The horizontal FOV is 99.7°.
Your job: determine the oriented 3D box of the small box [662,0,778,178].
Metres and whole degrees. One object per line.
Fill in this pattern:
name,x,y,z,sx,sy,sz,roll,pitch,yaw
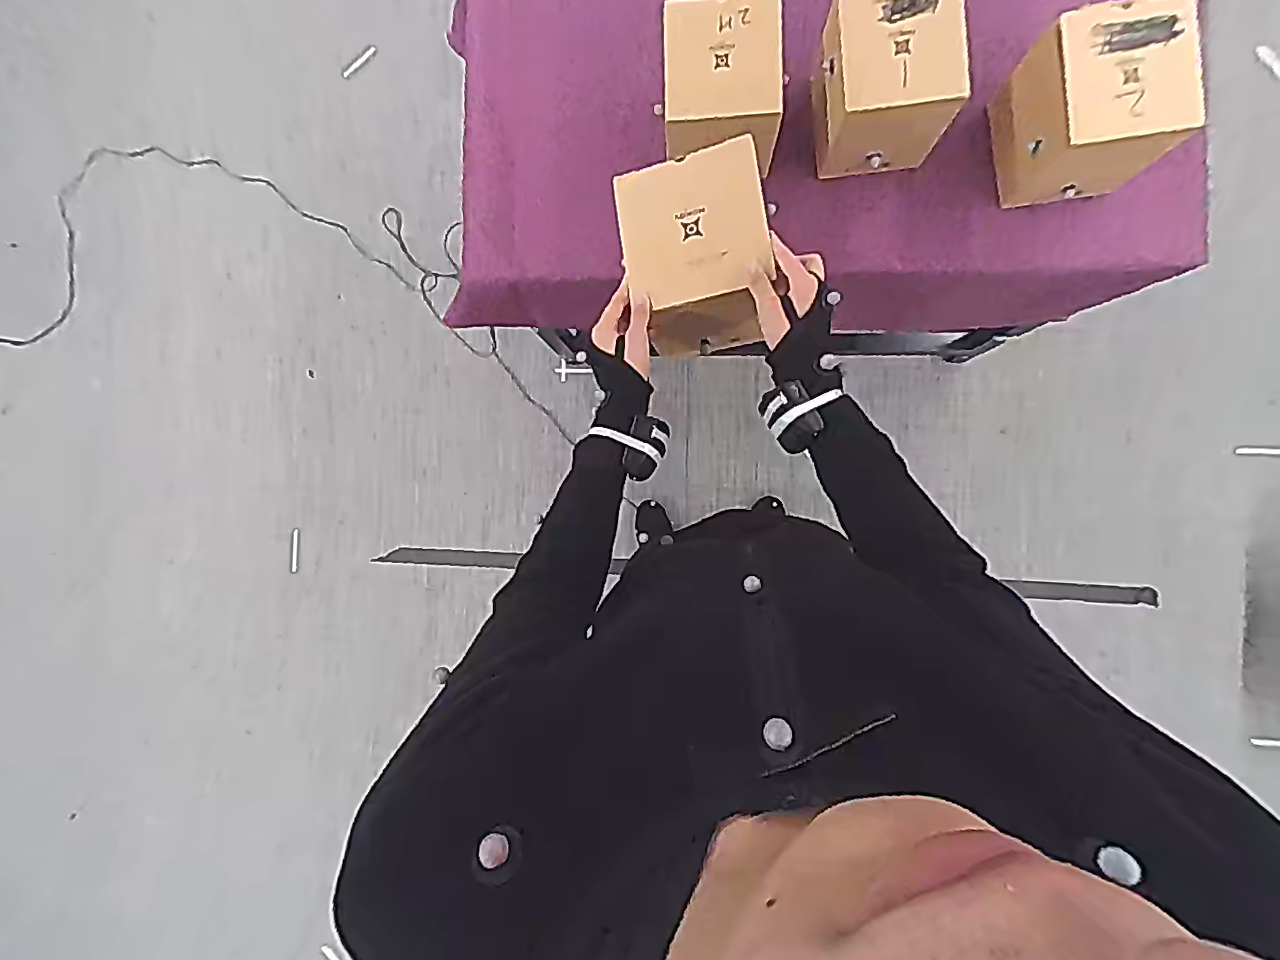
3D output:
small box,0.121,-0.594,0.846,0.168,0.176,0.179,-1,88,5

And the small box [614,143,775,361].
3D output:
small box,0.076,-0.275,0.691,0.168,0.176,0.179,-10,80,15

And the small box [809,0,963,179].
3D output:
small box,0.362,-0.598,0.825,0.168,0.176,0.179,-4,89,5
